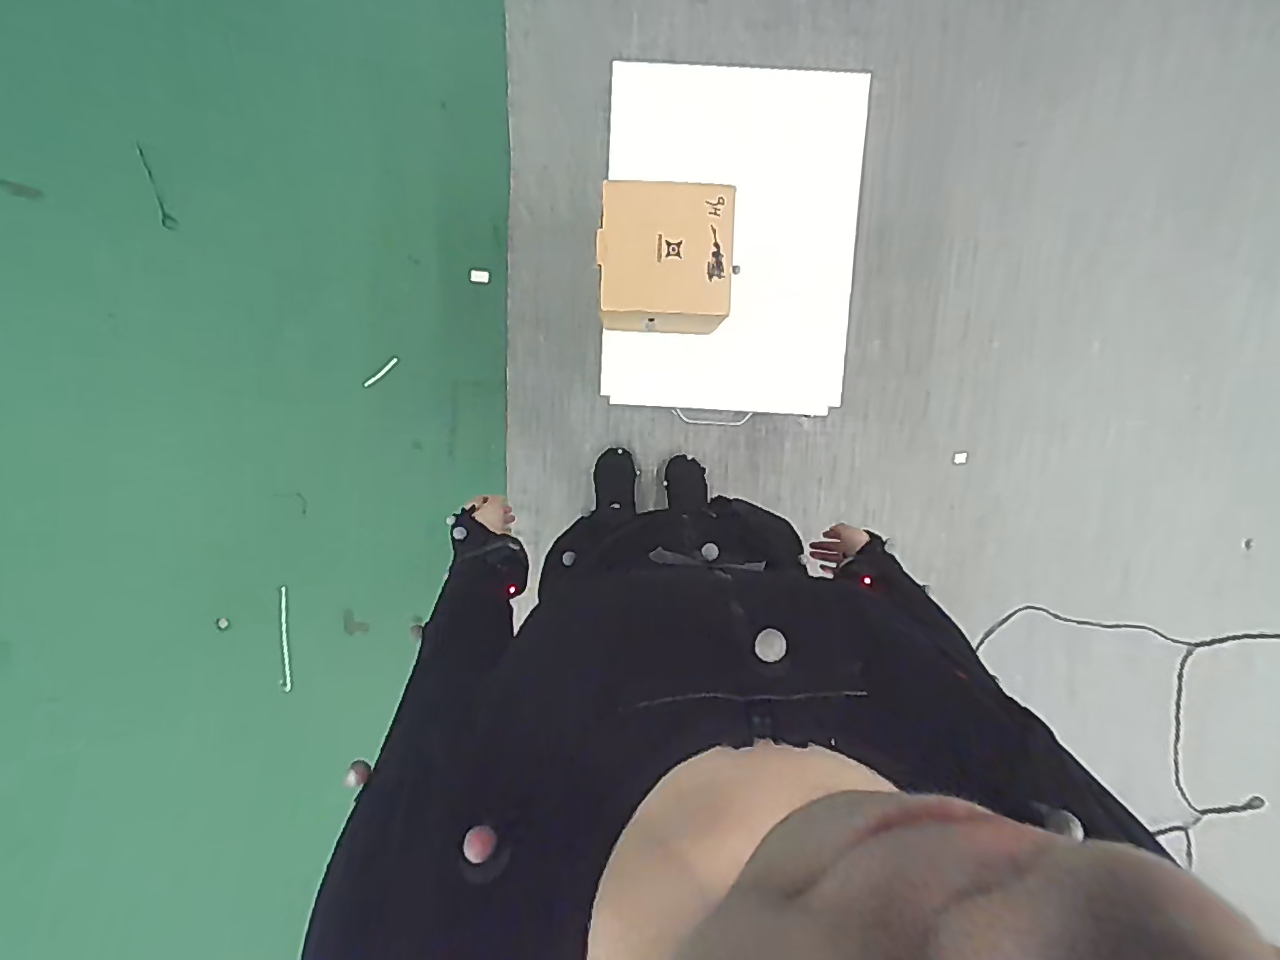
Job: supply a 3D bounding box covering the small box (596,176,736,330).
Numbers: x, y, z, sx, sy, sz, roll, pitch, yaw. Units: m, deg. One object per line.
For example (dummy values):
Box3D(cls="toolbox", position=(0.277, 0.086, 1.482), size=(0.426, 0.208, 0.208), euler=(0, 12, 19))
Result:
Box3D(cls="small box", position=(0.033, -0.312, 0.775), size=(0.179, 0.176, 0.168), euler=(2, 97, -1))
